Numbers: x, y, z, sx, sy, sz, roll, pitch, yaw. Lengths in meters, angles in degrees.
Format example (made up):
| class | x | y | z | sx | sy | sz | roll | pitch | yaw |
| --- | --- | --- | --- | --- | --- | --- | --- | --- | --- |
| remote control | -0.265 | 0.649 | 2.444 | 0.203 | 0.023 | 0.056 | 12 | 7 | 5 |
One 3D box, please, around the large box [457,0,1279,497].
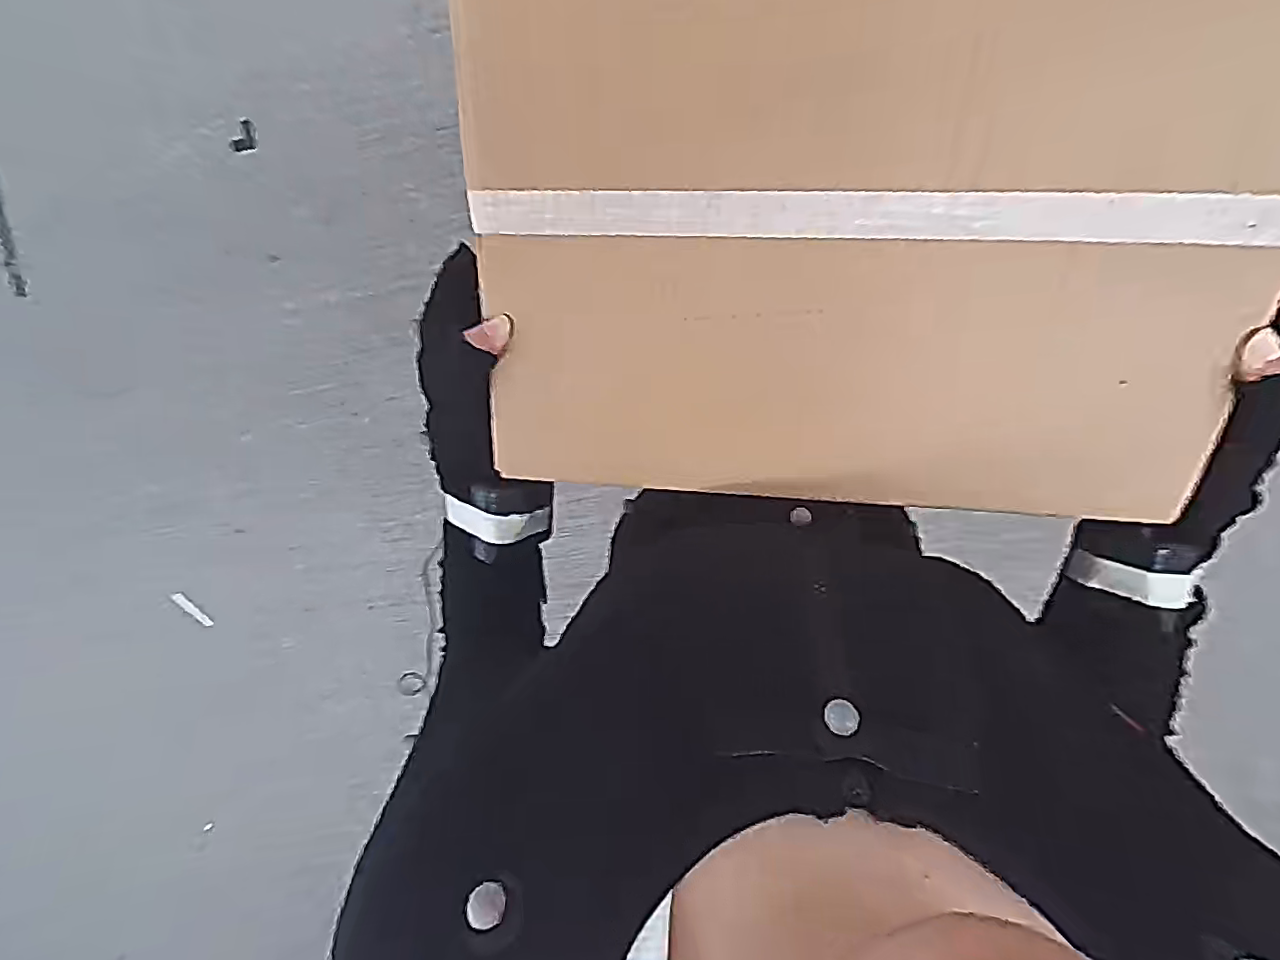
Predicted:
| class | x | y | z | sx | sy | sz | roll | pitch | yaw |
| --- | --- | --- | --- | --- | --- | --- | --- | --- | --- |
| large box | 0.122 | -0.196 | 0.419 | 0.408 | 0.320 | 0.320 | 3 | 114 | 6 |
